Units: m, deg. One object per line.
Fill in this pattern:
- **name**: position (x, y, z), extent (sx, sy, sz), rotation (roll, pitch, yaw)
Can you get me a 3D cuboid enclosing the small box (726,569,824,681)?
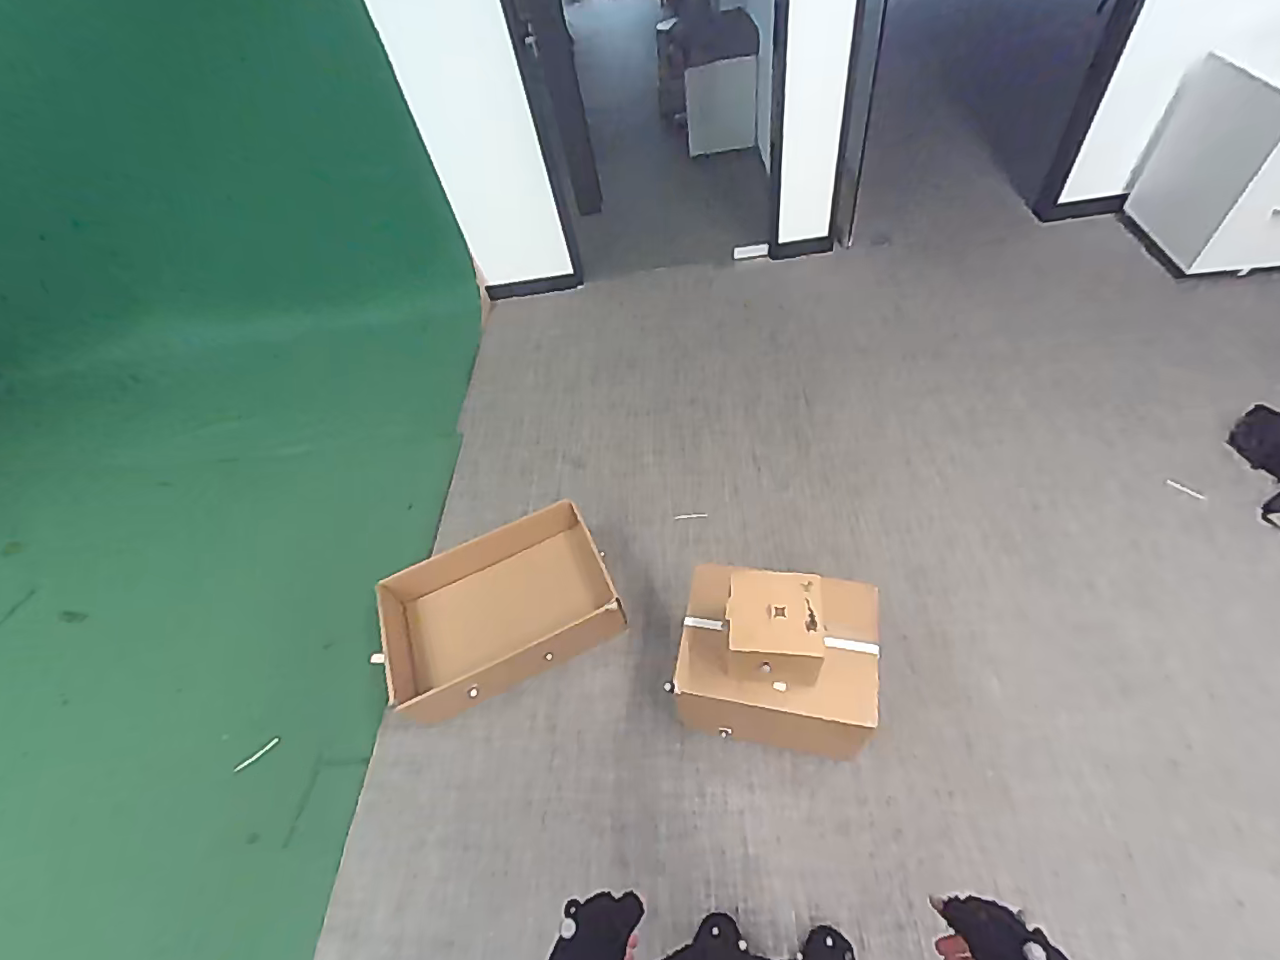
- **small box**: position (0.268, 0.294, 1.087), extent (0.179, 0.176, 0.168), rotation (0, 53, 12)
